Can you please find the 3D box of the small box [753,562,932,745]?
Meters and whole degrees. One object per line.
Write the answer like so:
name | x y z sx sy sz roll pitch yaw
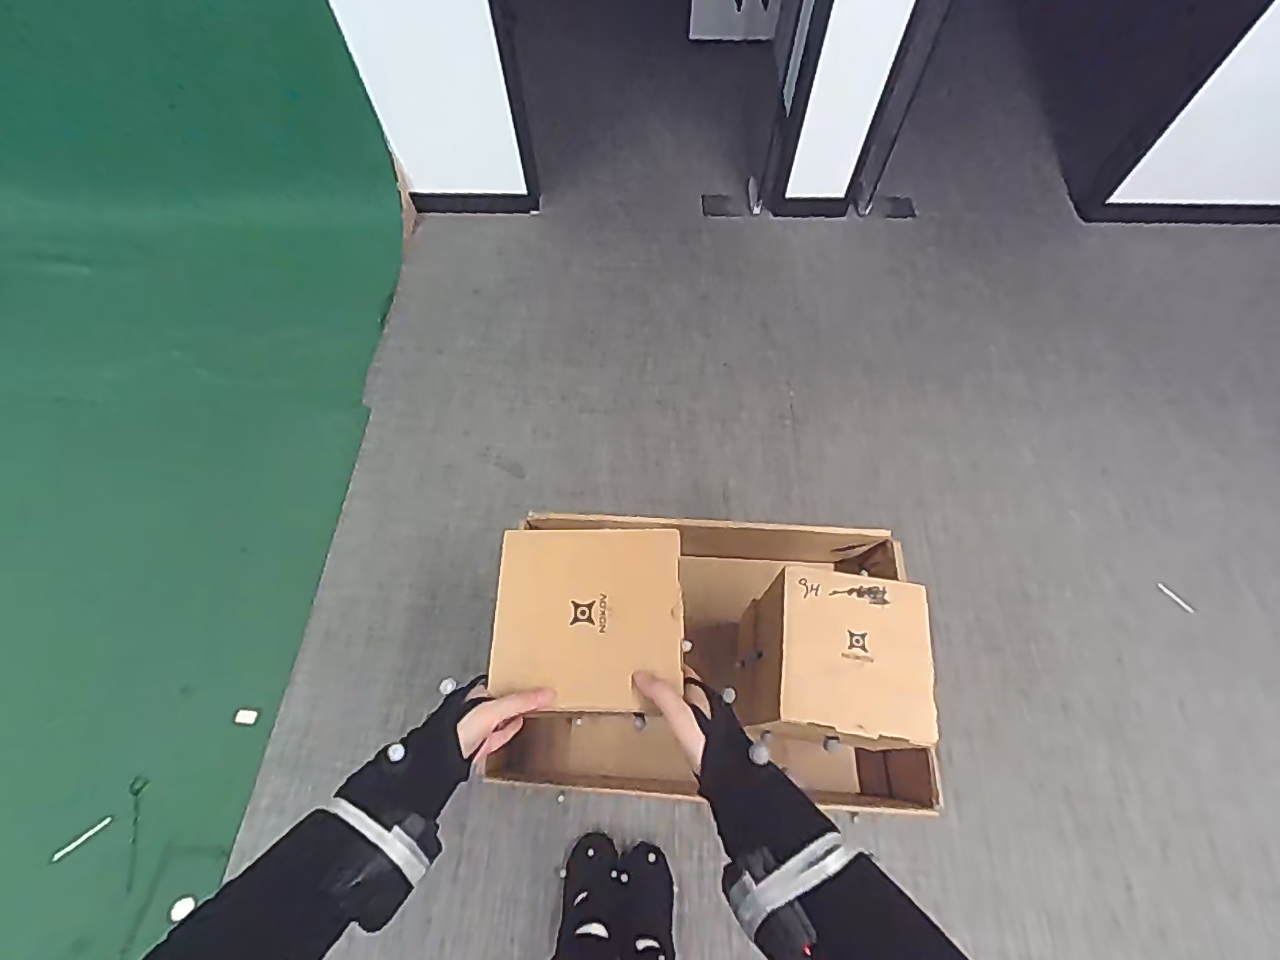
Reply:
small box | 0.240 0.220 0.674 0.168 0.176 0.179 8 65 5

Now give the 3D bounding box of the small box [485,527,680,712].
small box | -0.046 0.156 0.579 0.179 0.176 0.168 -1 65 2
